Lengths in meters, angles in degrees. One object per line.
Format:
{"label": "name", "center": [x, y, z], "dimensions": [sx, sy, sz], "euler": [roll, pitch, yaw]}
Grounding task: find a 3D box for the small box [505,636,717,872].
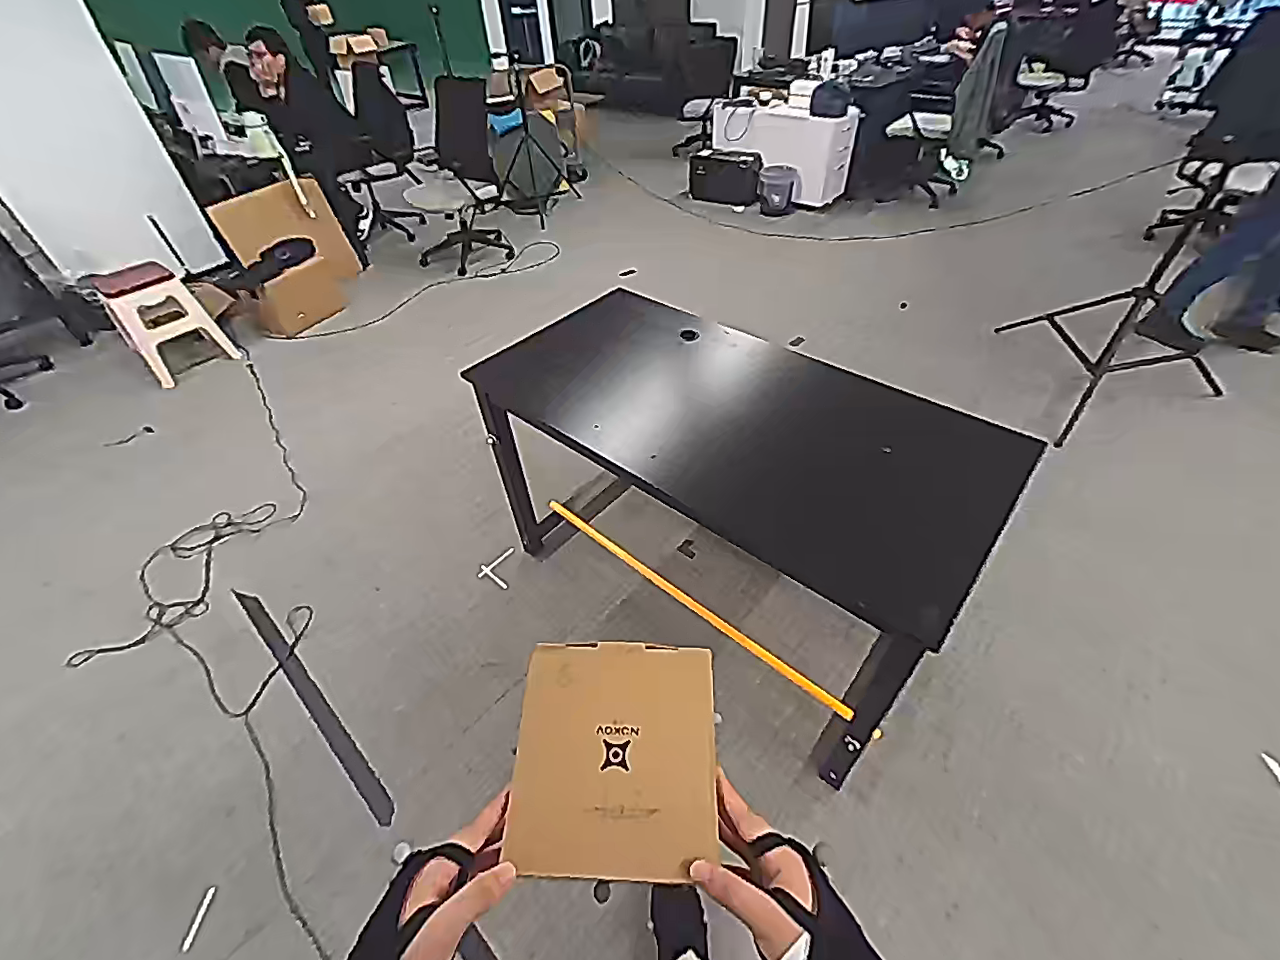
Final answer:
{"label": "small box", "center": [-0.020, 0.267, 0.523], "dimensions": [0.168, 0.176, 0.179], "euler": [1, 54, 2]}
